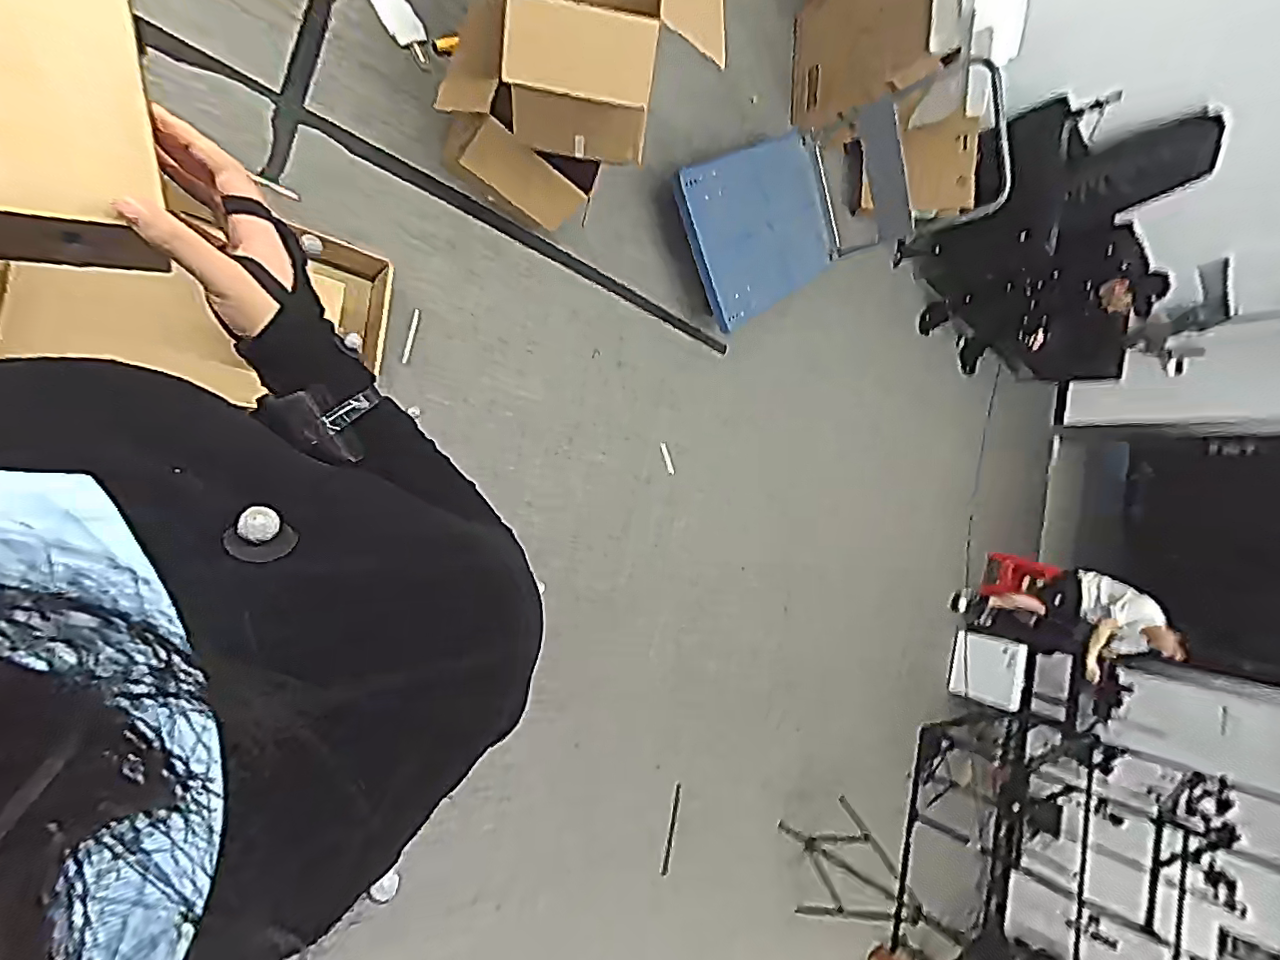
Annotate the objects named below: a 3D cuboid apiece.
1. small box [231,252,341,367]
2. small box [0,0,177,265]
[{"bbox_3d":[-0.770,-0.356,1.170,0.168,0.176,0.179,10,86,-40],"label":"small box"},{"bbox_3d":[-0.394,-0.226,0.308,0.179,0.176,0.168,-11,105,-39],"label":"small box"}]
